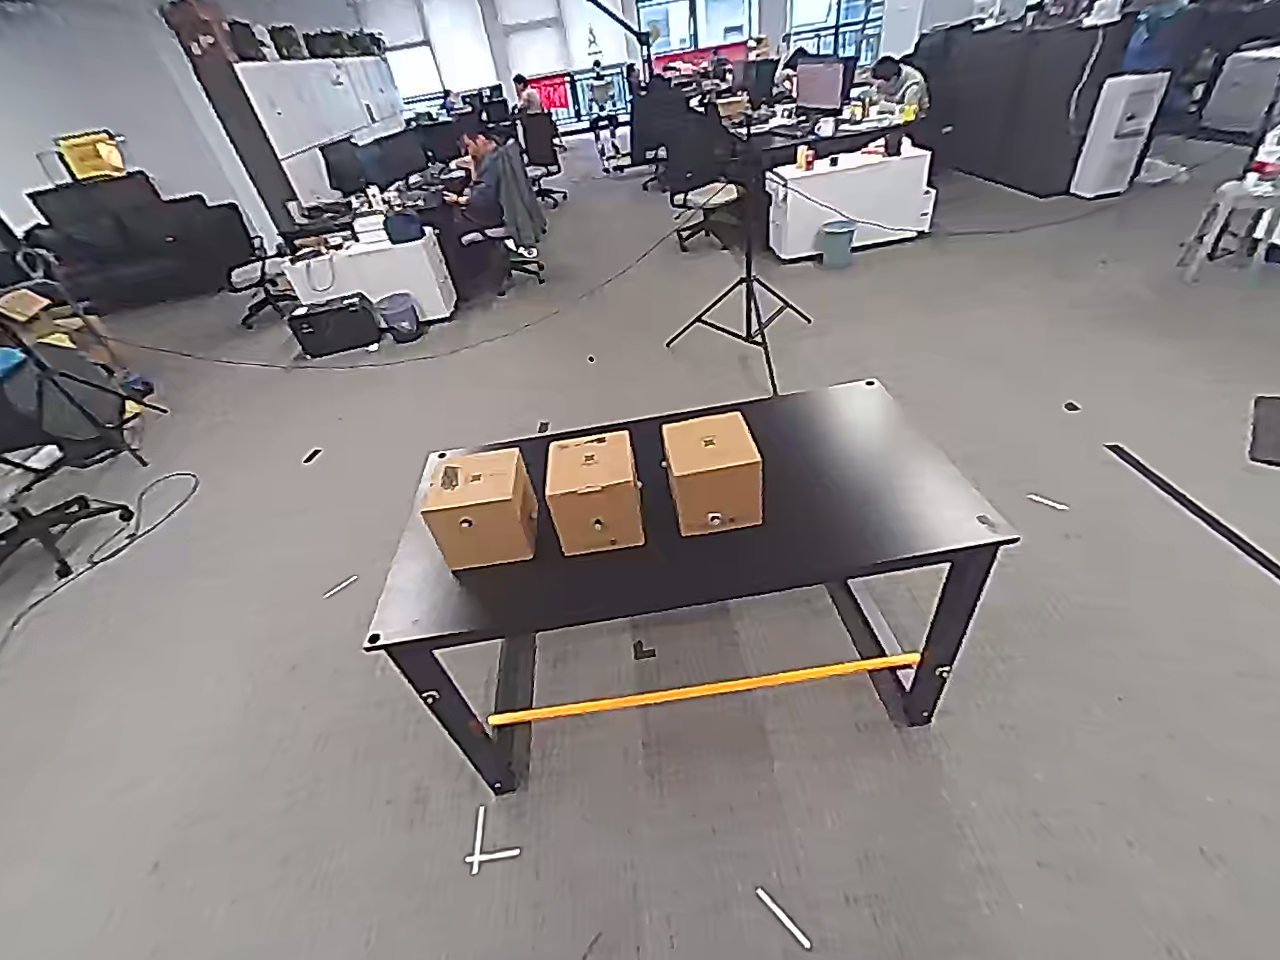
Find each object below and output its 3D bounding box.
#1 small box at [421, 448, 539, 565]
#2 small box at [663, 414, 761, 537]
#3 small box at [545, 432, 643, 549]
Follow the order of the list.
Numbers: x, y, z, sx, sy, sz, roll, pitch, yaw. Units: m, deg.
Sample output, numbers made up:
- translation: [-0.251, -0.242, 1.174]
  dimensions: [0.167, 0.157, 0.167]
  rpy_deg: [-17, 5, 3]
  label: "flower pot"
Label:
- translation: [-0.320, 0.059, 1.120]
  dimensions: [0.179, 0.176, 0.168]
  rpy_deg: [-8, 39, 1]
  label: "small box"
- translation: [0.145, -0.010, 1.110]
  dimensions: [0.168, 0.176, 0.179]
  rpy_deg: [-11, 40, 1]
  label: "small box"
- translation: [-0.089, 0.028, 1.112]
  dimensions: [0.168, 0.176, 0.179]
  rpy_deg: [-9, 40, 2]
  label: "small box"
